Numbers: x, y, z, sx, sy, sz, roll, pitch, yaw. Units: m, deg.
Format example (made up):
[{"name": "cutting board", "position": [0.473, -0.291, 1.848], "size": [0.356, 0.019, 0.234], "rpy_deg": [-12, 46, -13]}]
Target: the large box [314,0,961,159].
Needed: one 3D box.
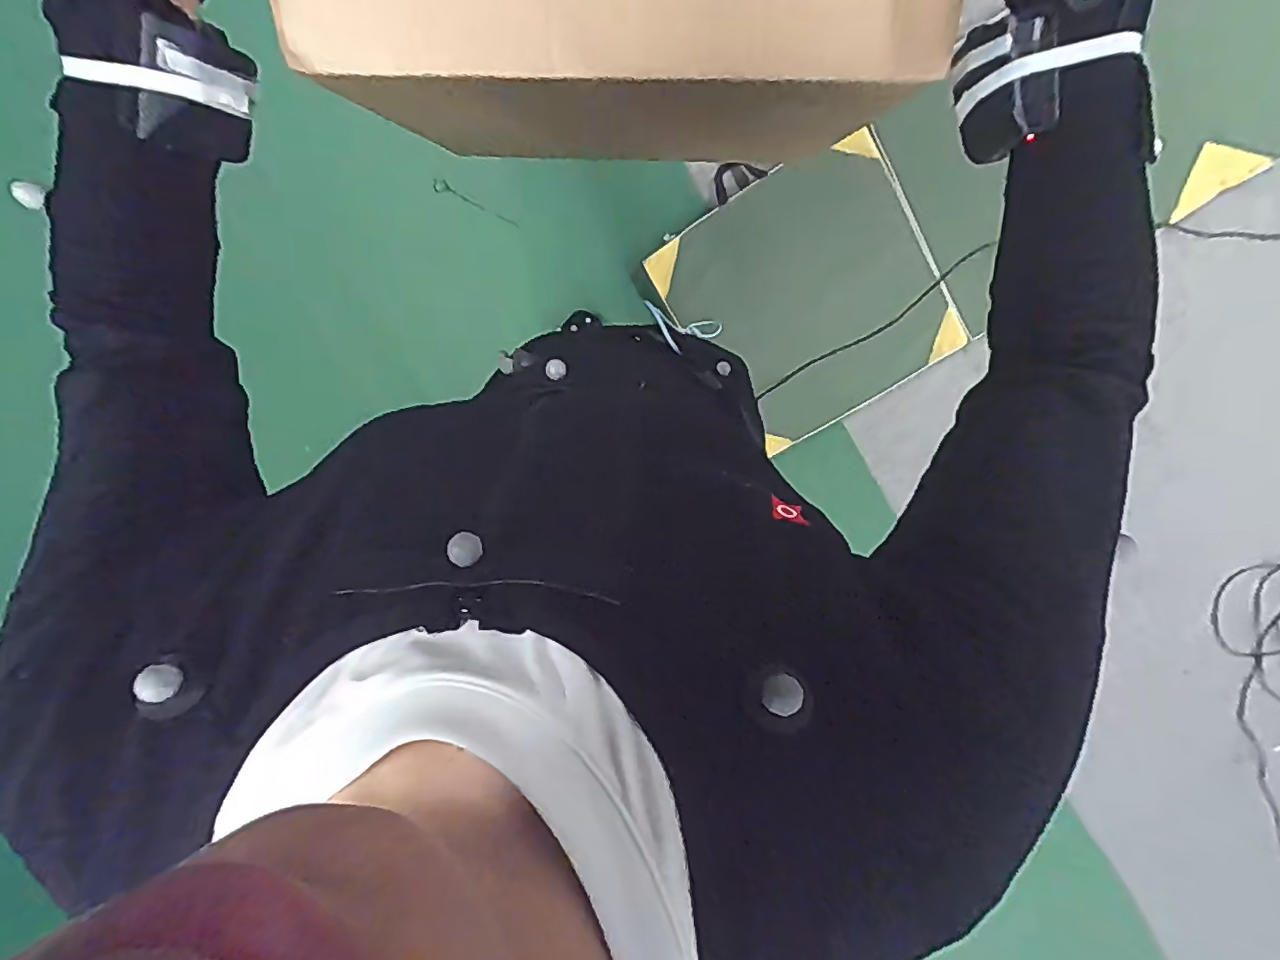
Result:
[{"name": "large box", "position": [-0.002, -0.455, 0.425], "size": [0.408, 0.320, 0.320], "rpy_deg": [1, 113, -1]}]
